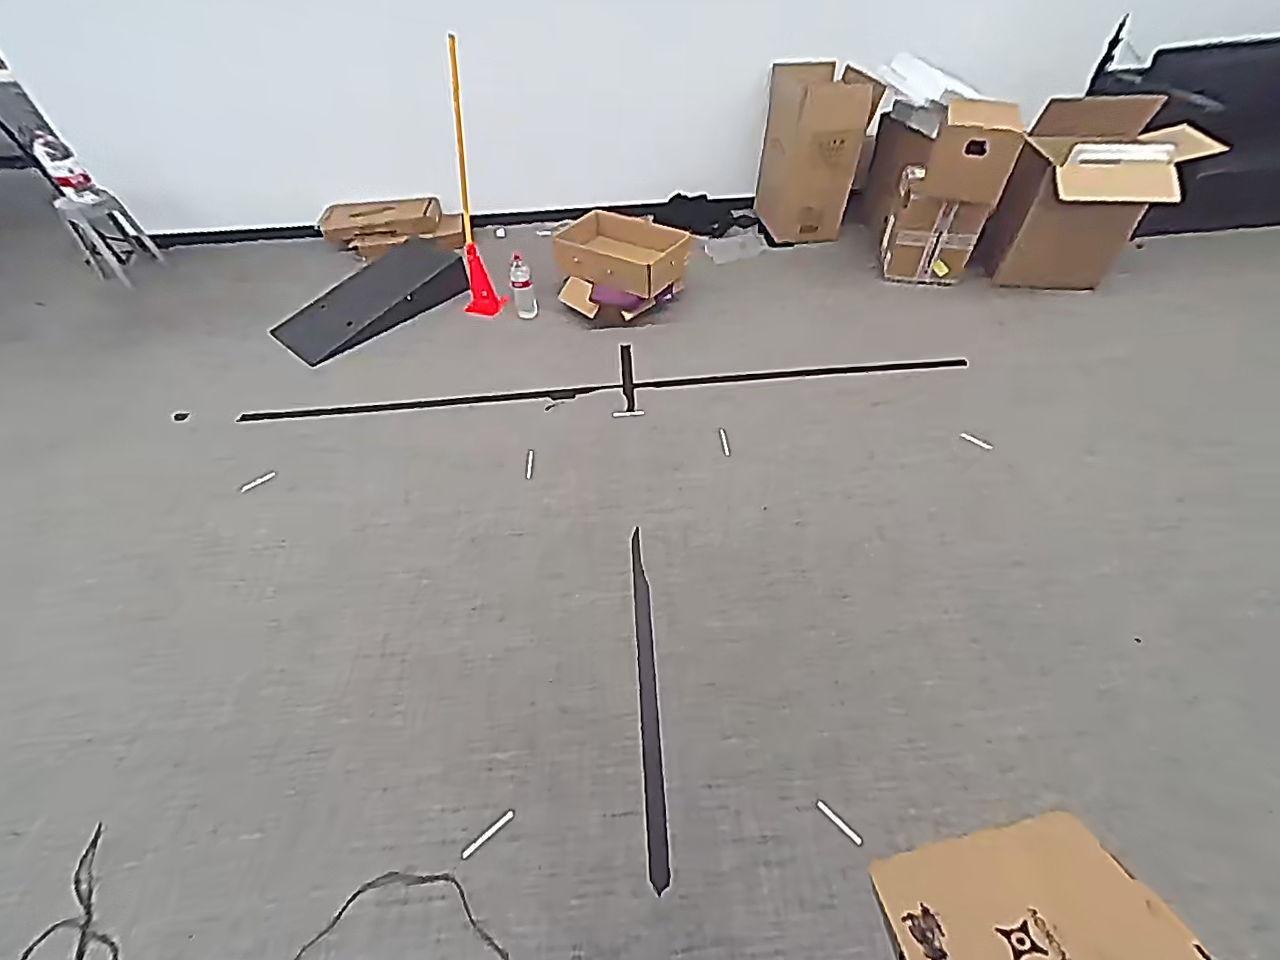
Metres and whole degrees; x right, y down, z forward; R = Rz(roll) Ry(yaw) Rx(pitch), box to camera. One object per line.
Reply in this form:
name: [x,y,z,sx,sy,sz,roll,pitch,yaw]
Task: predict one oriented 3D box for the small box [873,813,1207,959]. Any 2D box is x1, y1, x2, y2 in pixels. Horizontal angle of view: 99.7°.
small box: [0.305,0.398,0.401,0.179,0.176,0.168,-18,12,5]
